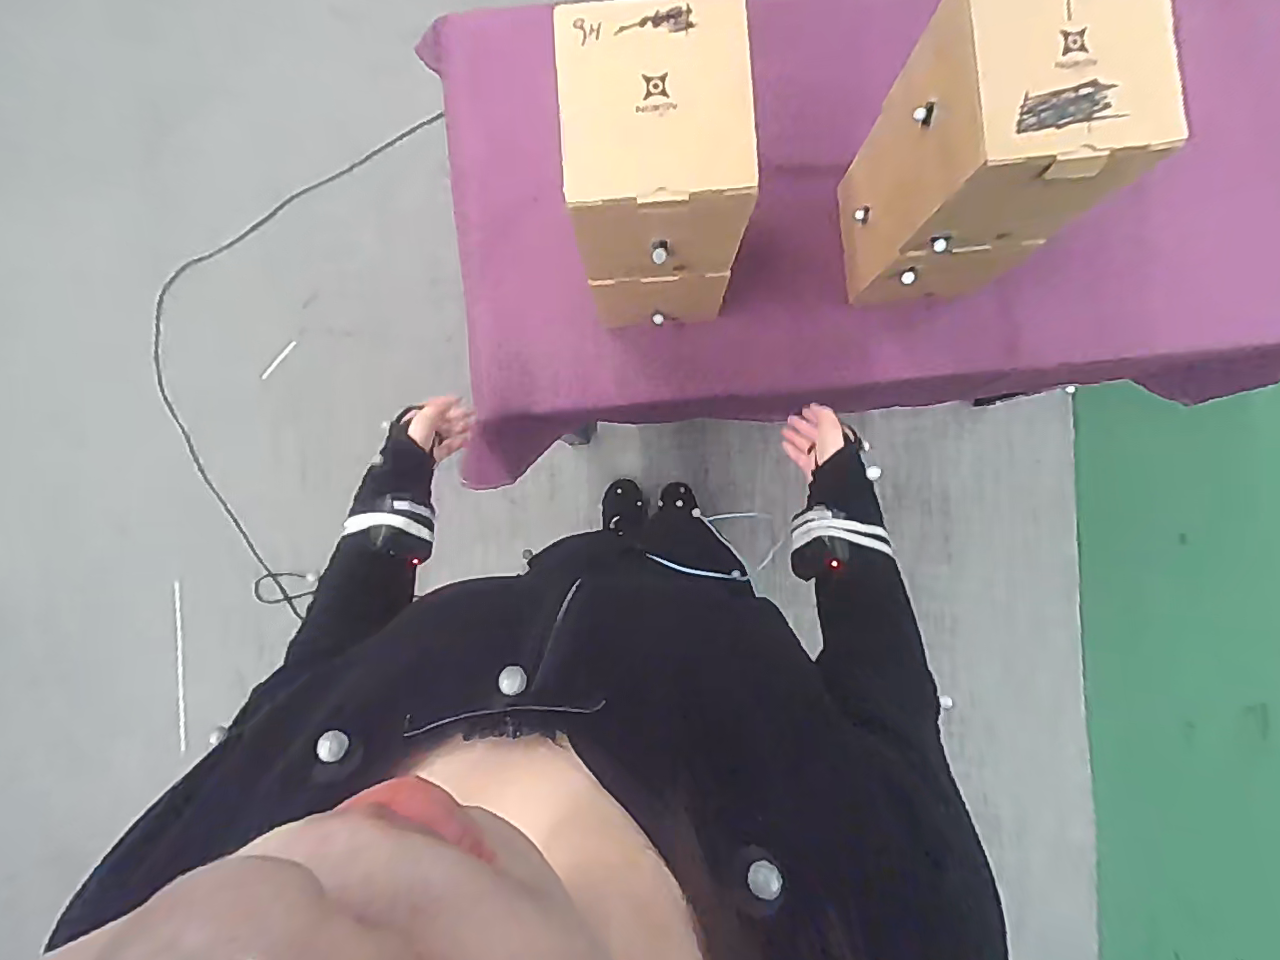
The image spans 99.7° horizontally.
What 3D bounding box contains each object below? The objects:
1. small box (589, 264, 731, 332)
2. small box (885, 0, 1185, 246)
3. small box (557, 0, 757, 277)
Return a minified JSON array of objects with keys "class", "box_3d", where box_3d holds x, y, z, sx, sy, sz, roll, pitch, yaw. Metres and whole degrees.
[{"class":"small box","box_3d":[0.021,-0.308,0.703,0.168,0.176,0.179,-4,88,2]},{"class":"small box","box_3d":[0.362,-0.349,0.530,0.168,0.176,0.179,-5,87,2]},{"class":"small box","box_3d":[0.017,-0.316,0.539,0.168,0.176,0.179,-4,89,1]}]
